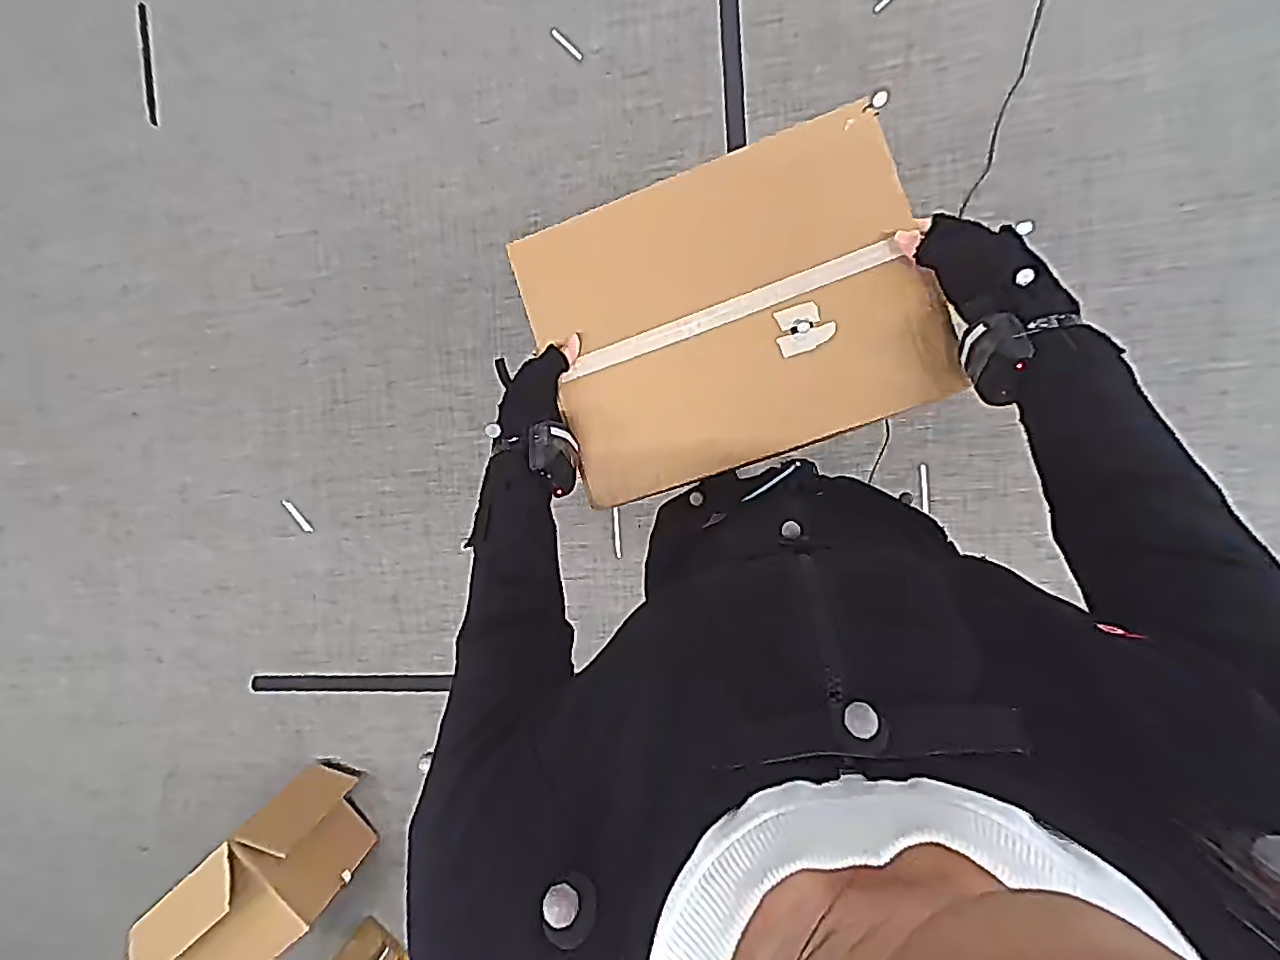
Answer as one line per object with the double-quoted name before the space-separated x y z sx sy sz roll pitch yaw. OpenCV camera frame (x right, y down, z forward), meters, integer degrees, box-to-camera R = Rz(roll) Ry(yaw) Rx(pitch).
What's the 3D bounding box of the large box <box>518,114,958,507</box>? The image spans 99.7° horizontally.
"large box" 0.110 -0.176 0.730 0.408 0.320 0.320 -19 88 6
